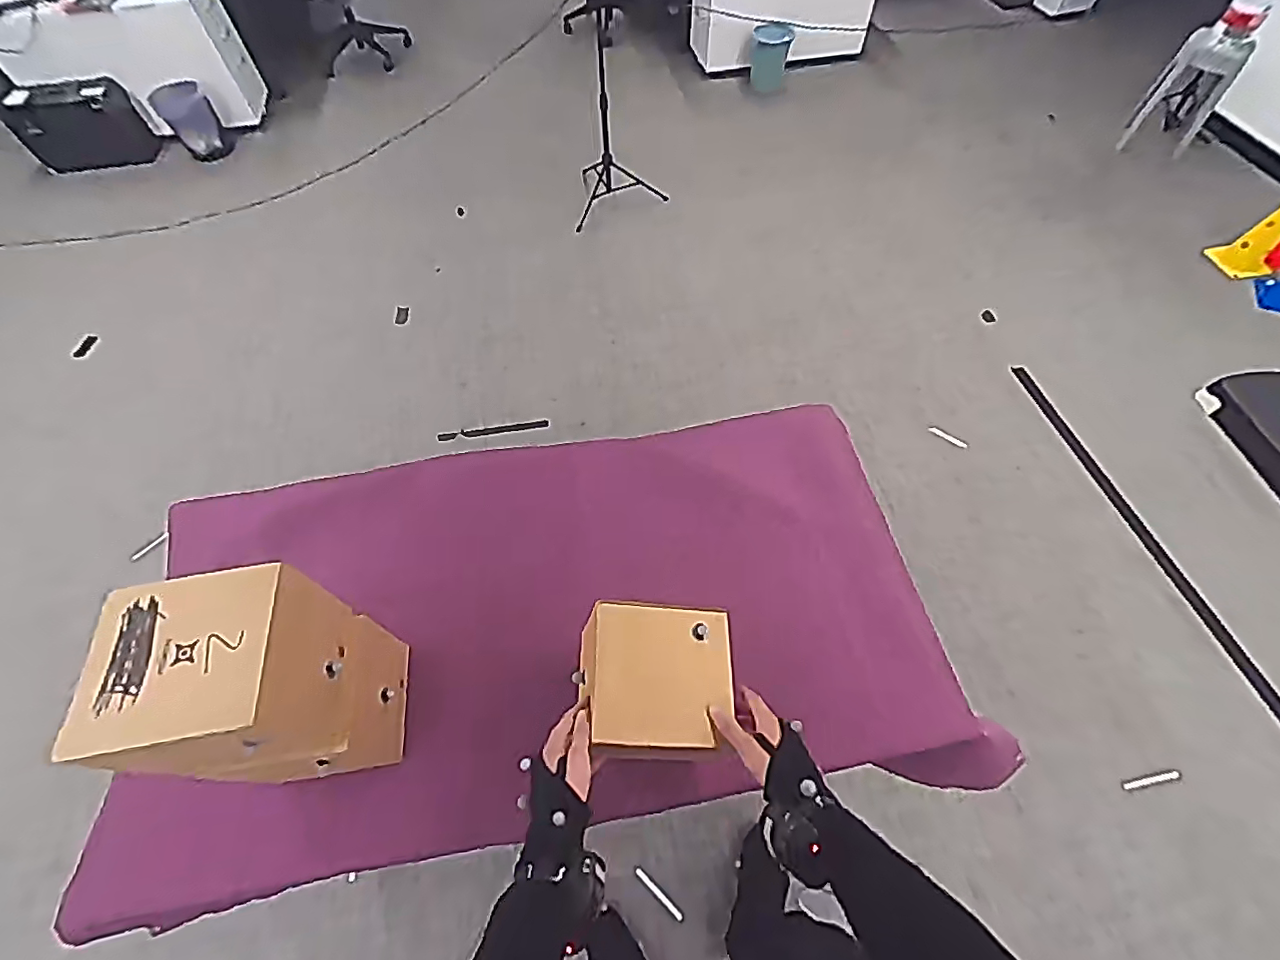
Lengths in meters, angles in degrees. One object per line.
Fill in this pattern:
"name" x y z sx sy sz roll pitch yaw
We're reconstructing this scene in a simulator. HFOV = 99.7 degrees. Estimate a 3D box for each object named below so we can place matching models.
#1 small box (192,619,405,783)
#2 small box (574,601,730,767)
"small box" -0.436 0.302 0.728 0.179 0.176 0.168 -8 58 -4
"small box" 0.008 0.275 0.715 0.179 0.168 0.176 8 57 -9
